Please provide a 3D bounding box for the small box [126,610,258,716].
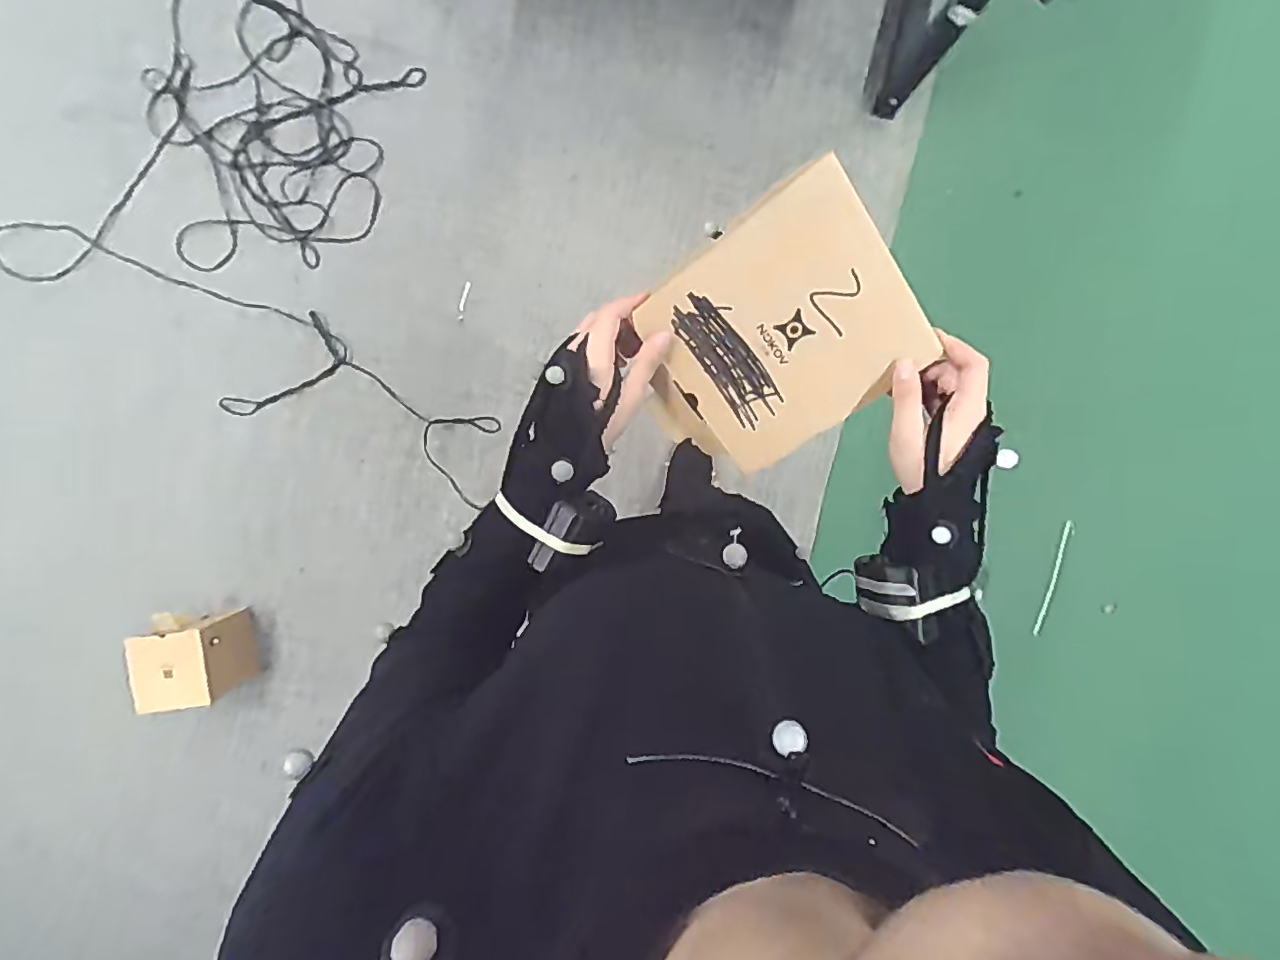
[{"bbox_3d":[-1.033,0.421,1.264,0.168,0.176,0.179,-7,93,-2],"label":"small box"}]
